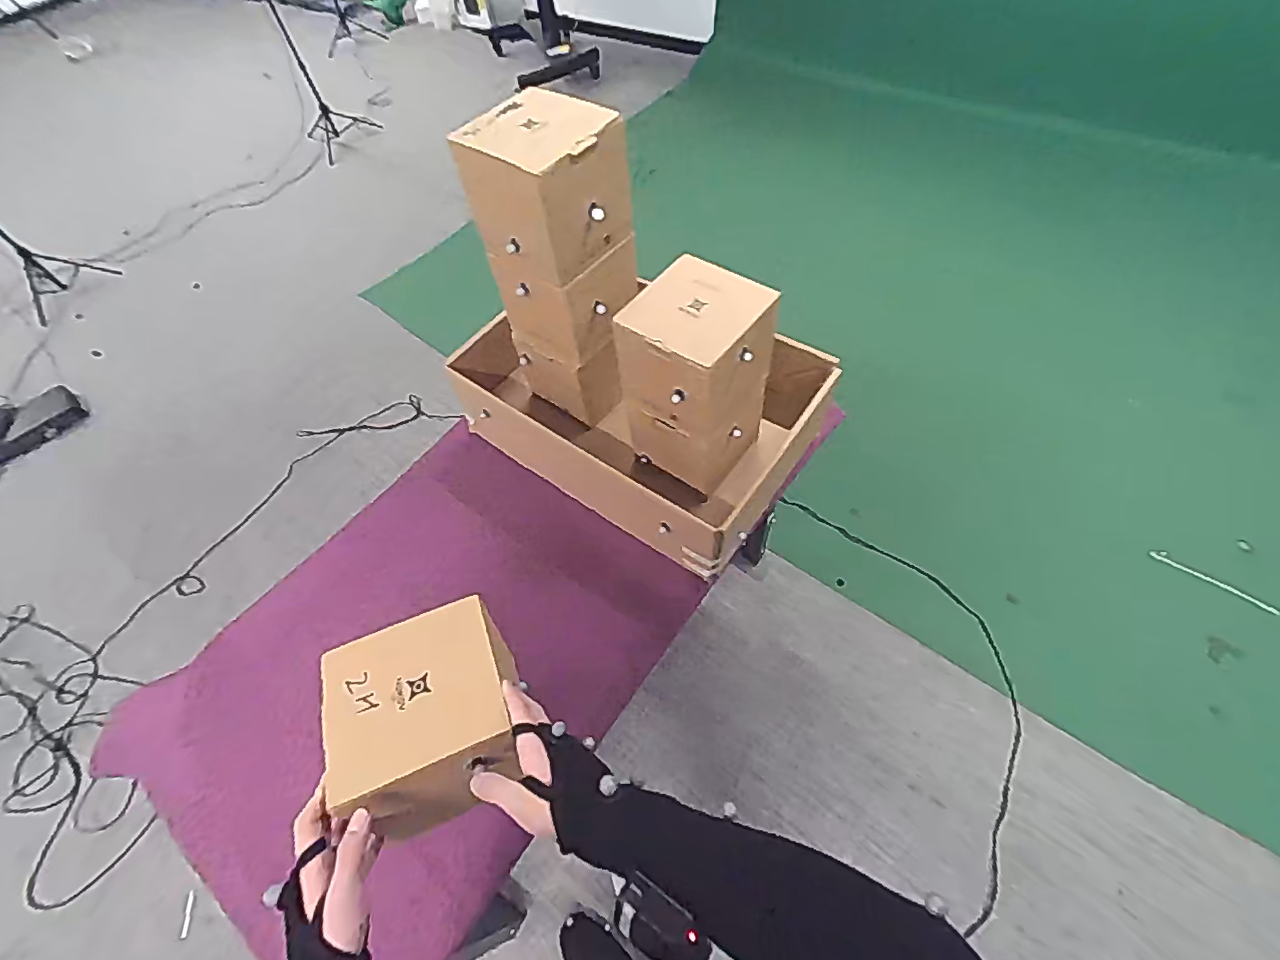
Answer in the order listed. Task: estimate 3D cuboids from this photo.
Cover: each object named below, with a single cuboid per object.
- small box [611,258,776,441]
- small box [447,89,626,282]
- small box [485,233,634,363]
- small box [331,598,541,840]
[{"bbox_3d":[0.082,-0.190,0.810,0.168,0.176,0.179,34,67,23],"label":"small box"},{"bbox_3d":[-0.135,-0.416,0.779,0.179,0.176,0.168,33,66,21],"label":"small box"},{"bbox_3d":[-0.123,-0.327,0.917,0.179,0.176,0.168,33,66,22],"label":"small box"},{"bbox_3d":[-0.219,0.268,0.608,0.179,0.176,0.168,-19,49,-13],"label":"small box"}]
